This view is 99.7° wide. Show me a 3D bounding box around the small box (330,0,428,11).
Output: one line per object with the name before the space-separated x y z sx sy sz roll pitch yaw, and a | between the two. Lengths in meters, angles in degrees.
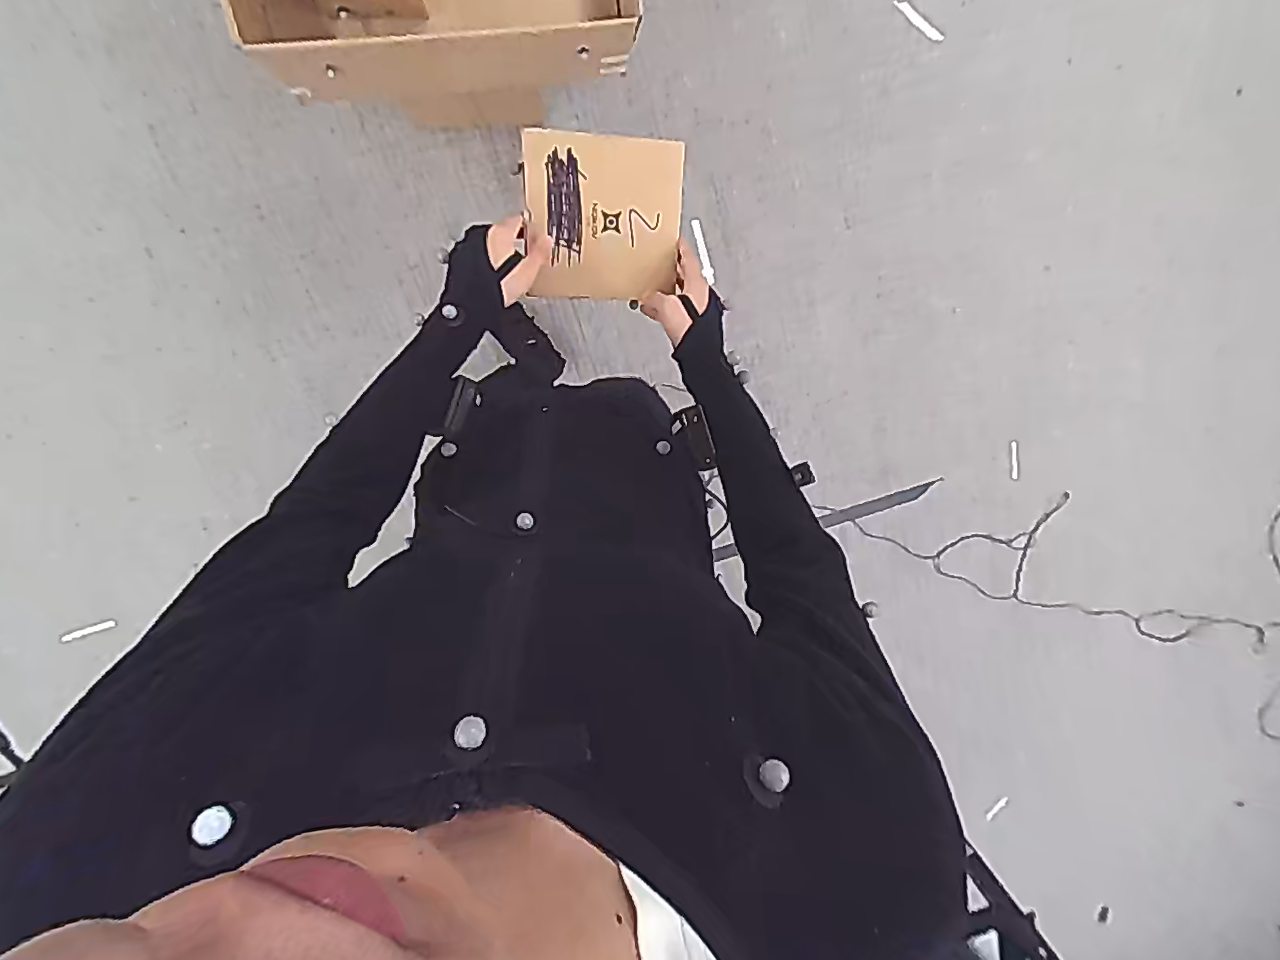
small box | -0.428 -0.843 0.808 0.168 0.176 0.179 -7 107 -8
